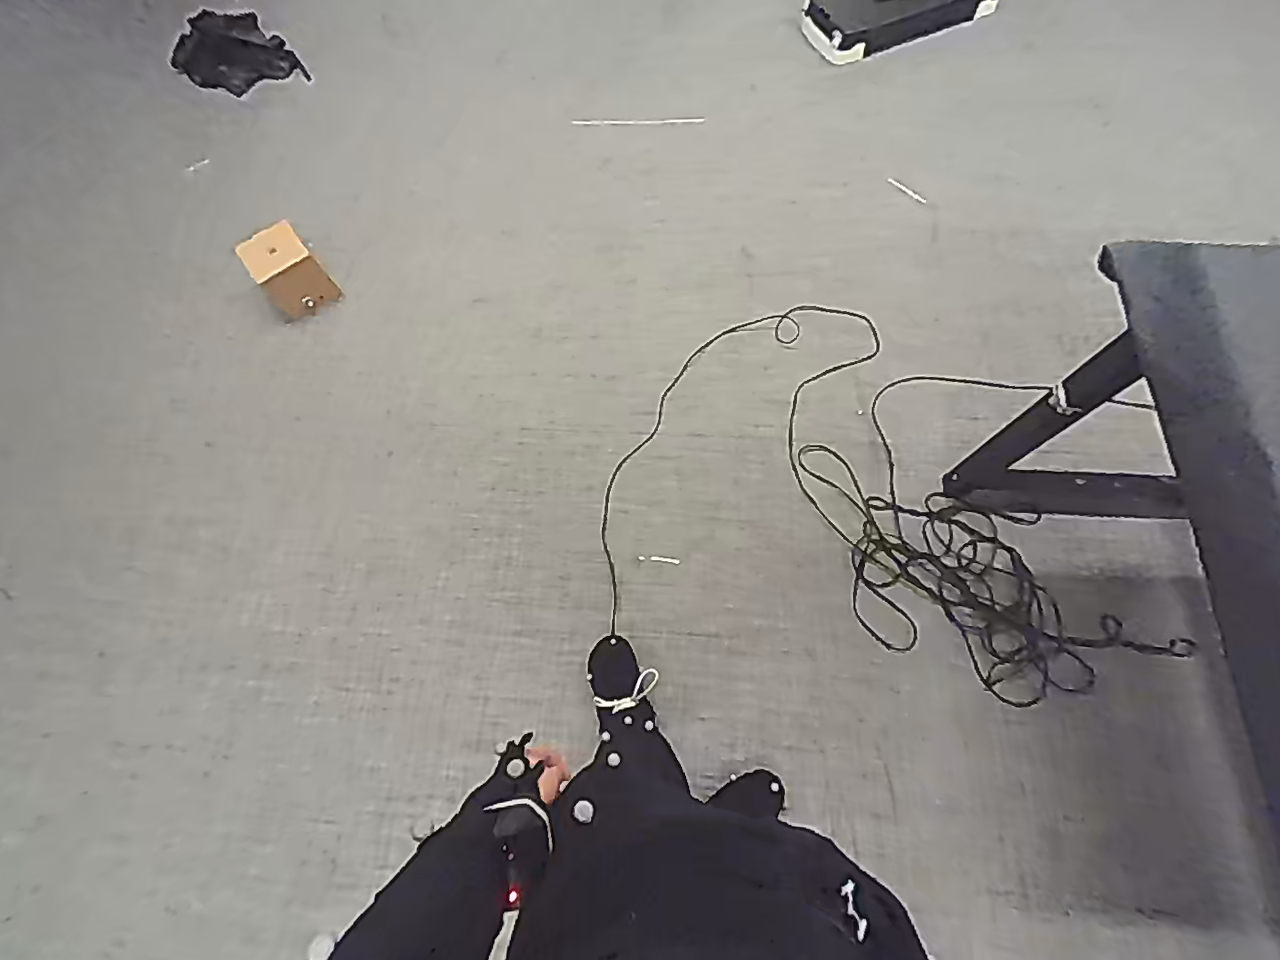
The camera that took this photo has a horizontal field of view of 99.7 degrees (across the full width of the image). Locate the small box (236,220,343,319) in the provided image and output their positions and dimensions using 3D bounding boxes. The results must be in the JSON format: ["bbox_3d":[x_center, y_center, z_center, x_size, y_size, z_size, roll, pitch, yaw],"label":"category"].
[{"bbox_3d":[-1.026,-0.615,1.594,0.168,0.176,0.179,-38,72,-9],"label":"small box"}]
